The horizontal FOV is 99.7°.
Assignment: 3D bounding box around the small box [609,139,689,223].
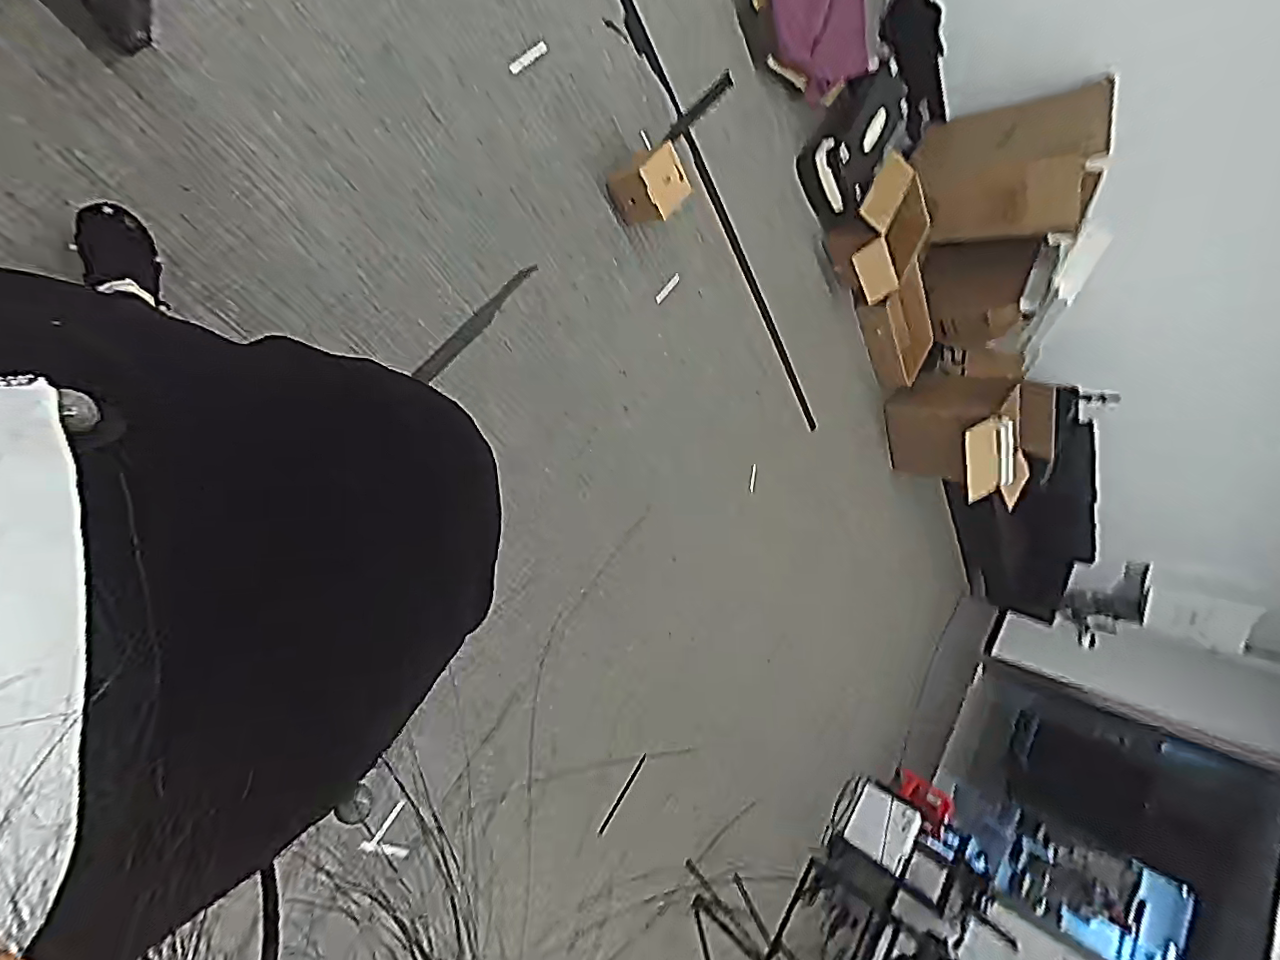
[{"bbox_3d":[0.021,-0.965,1.760,0.179,0.176,0.168,-52,130,-20],"label":"small box"}]
